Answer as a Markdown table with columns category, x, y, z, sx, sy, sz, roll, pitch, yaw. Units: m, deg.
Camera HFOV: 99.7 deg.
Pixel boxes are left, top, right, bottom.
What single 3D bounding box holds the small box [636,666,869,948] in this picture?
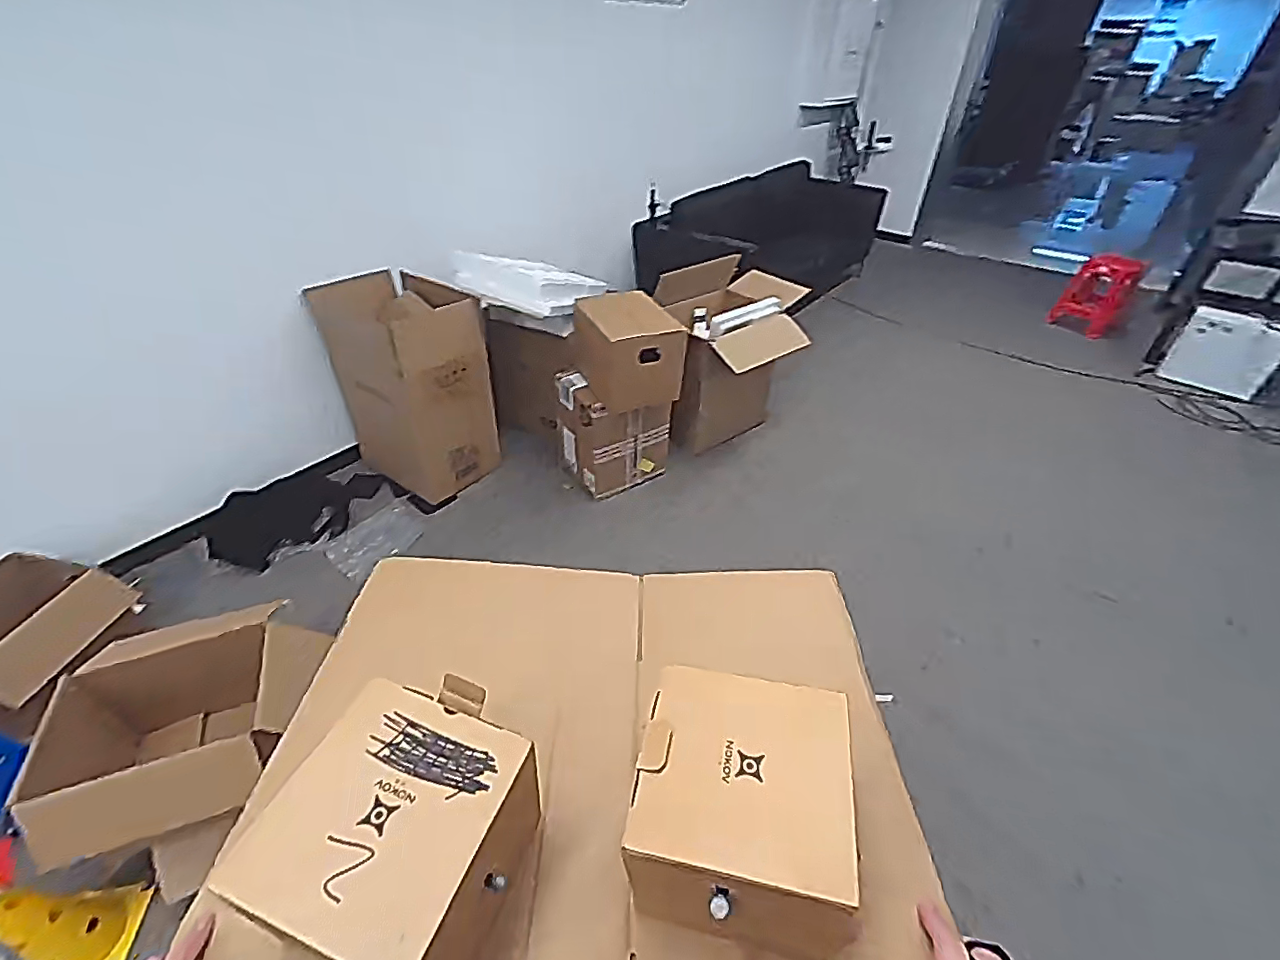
| category | x | y | z | sx | sy | sz | roll | pitch | yaw |
| --- | --- | --- | --- | --- | --- | --- | --- | --- | --- |
| small box | 0.106 | 0.309 | 0.515 | 0.179 | 0.176 | 0.168 | 5 | 39 | 14 |
